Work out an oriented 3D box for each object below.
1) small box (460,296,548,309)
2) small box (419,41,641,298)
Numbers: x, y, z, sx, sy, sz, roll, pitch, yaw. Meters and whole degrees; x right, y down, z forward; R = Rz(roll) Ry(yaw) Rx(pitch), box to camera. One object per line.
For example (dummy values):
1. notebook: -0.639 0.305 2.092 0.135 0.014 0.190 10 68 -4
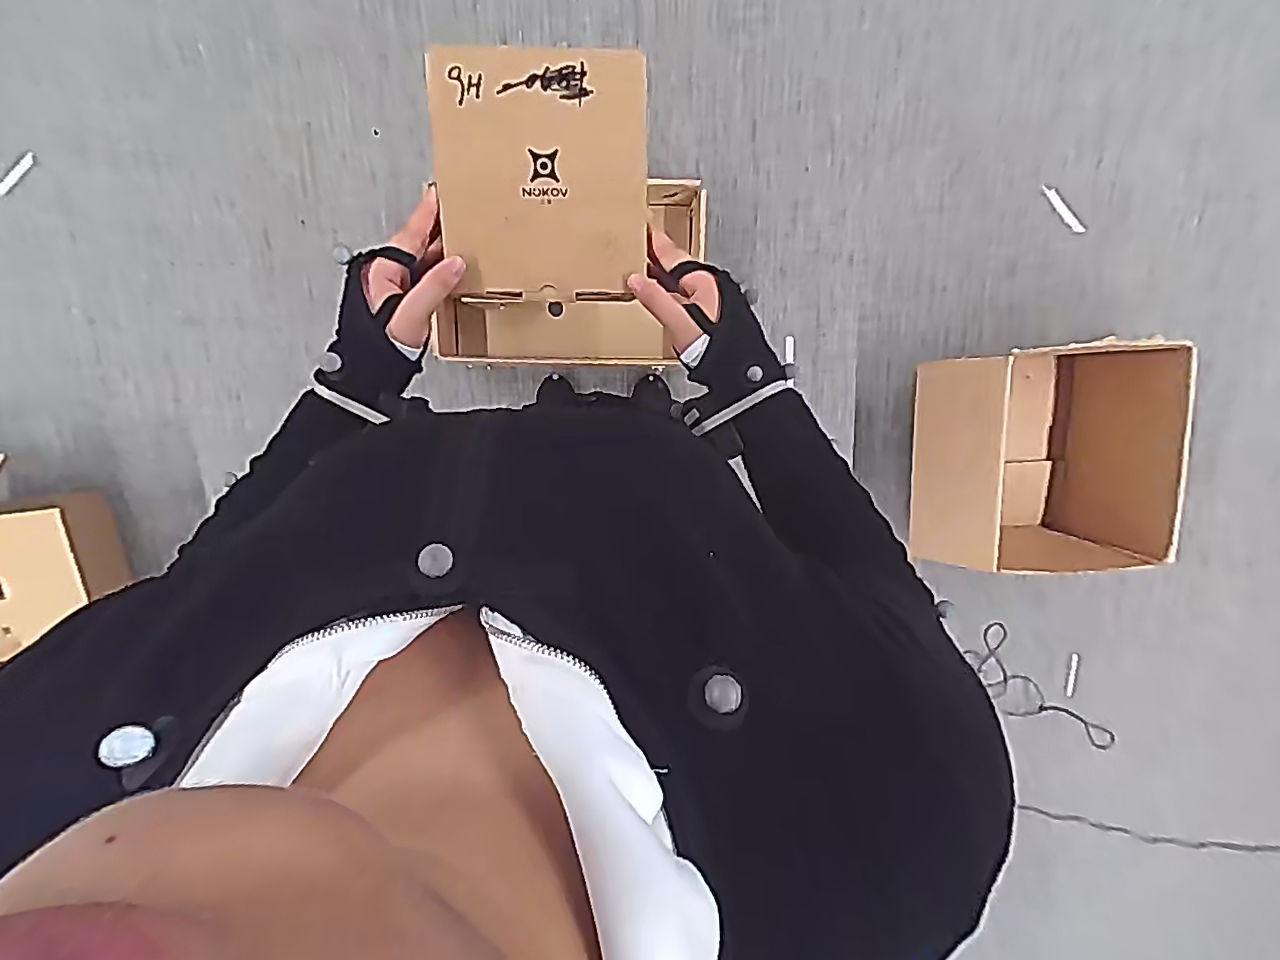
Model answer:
1. small box: -0.316 -0.493 1.263 0.179 0.176 0.168 -1 103 -3
2. small box: -0.087 -0.262 0.500 0.168 0.176 0.179 -1 108 -5
